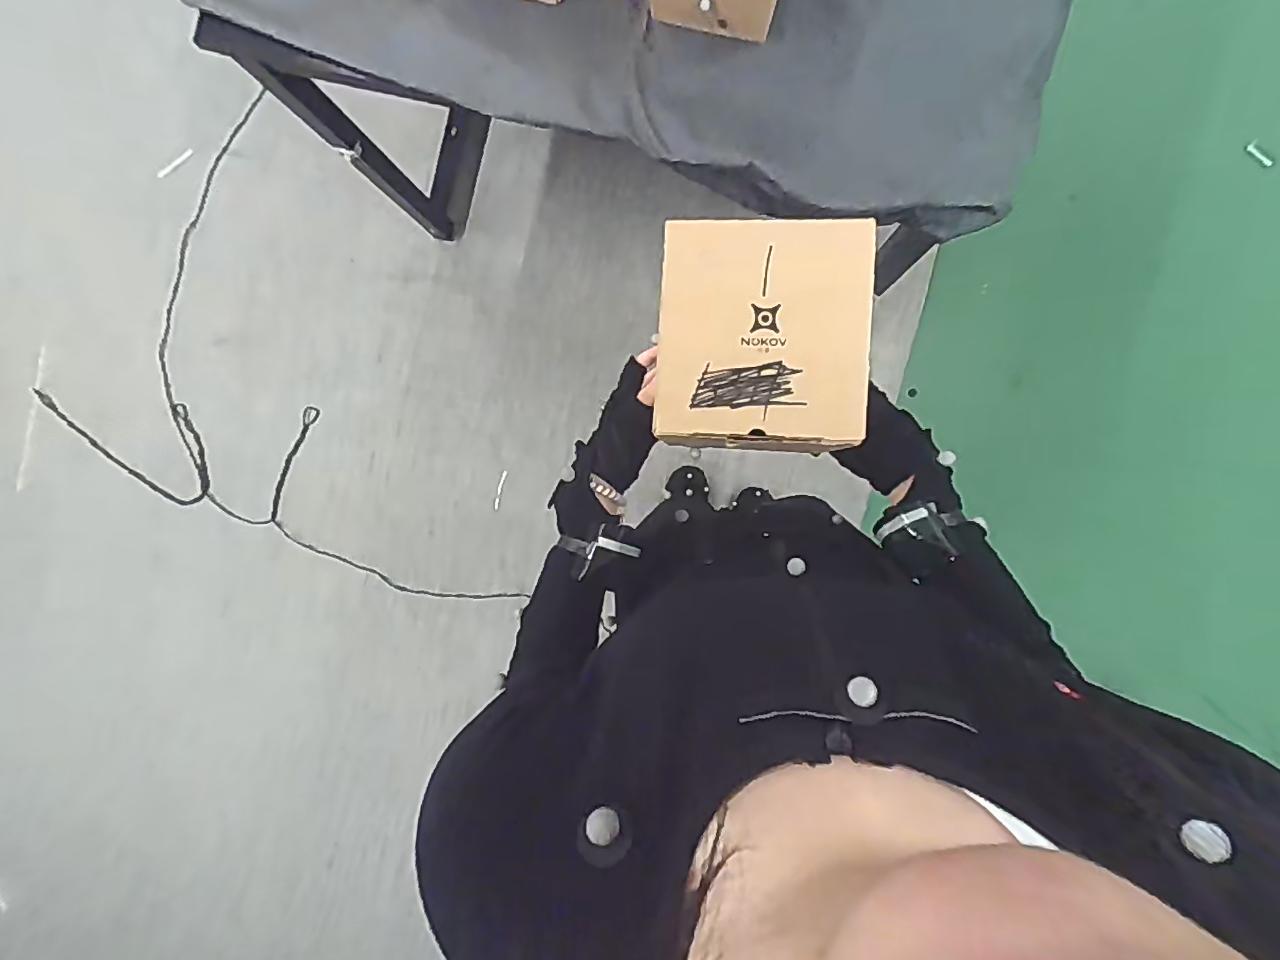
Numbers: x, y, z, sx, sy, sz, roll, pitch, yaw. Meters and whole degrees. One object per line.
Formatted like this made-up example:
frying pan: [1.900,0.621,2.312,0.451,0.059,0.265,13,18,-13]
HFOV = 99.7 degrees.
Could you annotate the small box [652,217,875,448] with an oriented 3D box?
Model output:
small box: [0.106,-0.122,0.507,0.168,0.176,0.179,3,91,6]

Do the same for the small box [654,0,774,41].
small box: [0.109,-0.708,0.668,0.168,0.176,0.179,17,93,5]
